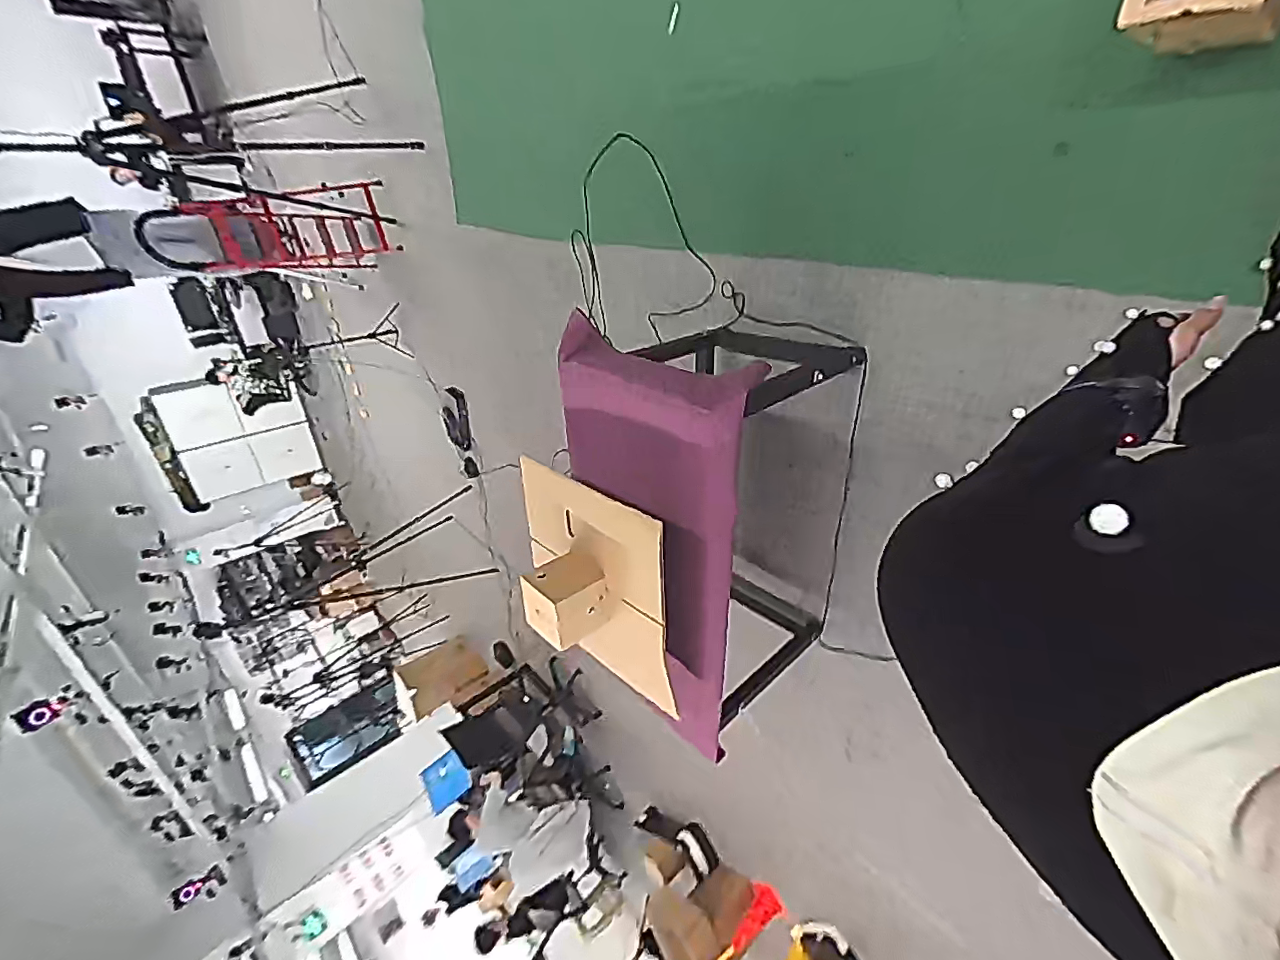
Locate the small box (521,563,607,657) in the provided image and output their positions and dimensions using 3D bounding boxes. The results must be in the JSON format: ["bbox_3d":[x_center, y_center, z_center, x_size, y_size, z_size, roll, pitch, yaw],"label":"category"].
[{"bbox_3d":[-0.210,0.352,1.513,0.179,0.176,0.168,24,126,41],"label":"small box"}]

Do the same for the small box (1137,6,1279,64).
[{"bbox_3d":[0.982,-0.822,0.901,0.168,0.176,0.179,27,130,40],"label":"small box"}]

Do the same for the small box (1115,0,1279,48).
[{"bbox_3d":[0.861,-0.768,0.804,0.168,0.176,0.179,27,129,40],"label":"small box"}]
